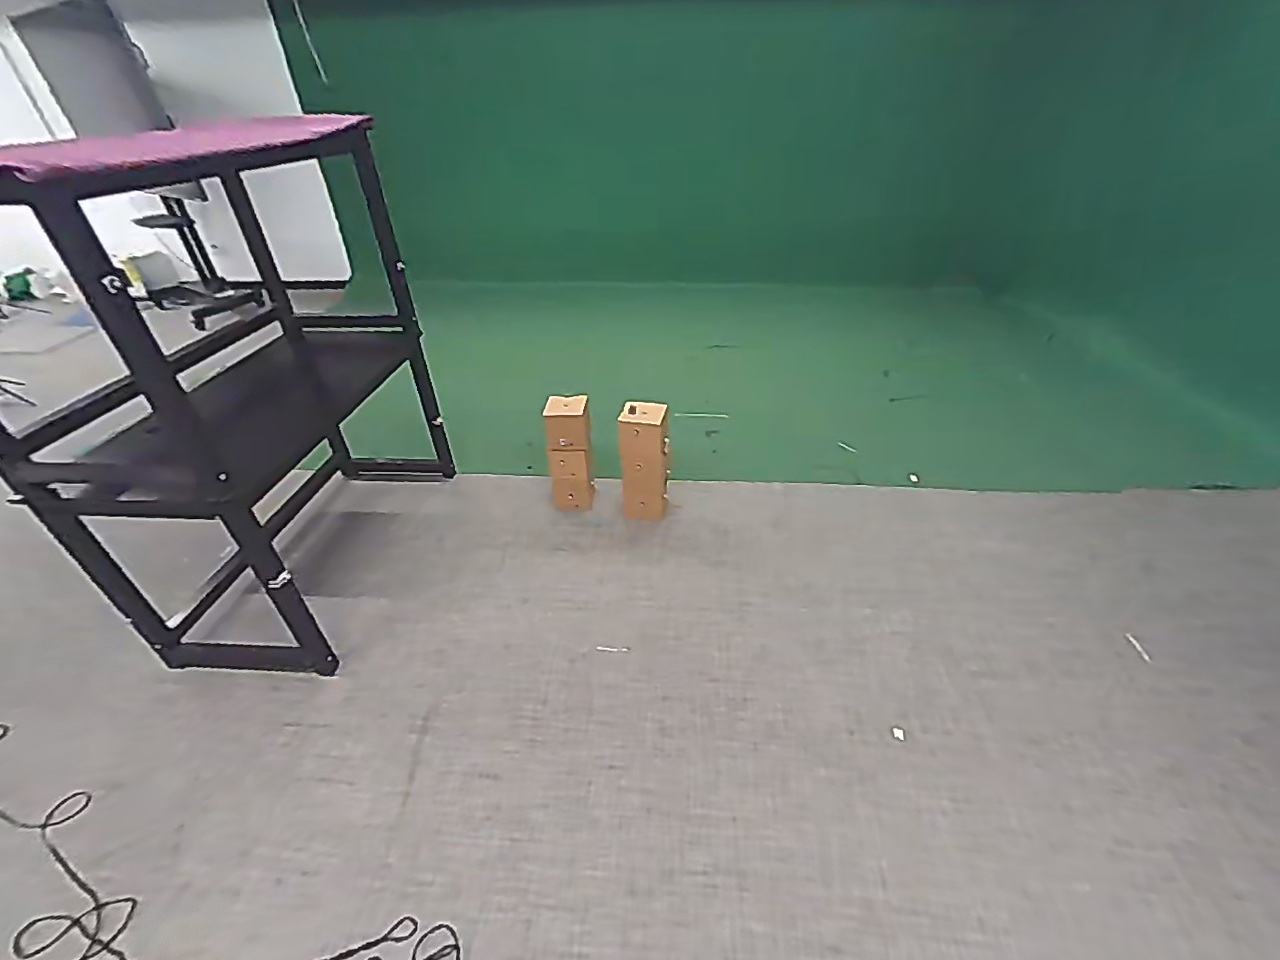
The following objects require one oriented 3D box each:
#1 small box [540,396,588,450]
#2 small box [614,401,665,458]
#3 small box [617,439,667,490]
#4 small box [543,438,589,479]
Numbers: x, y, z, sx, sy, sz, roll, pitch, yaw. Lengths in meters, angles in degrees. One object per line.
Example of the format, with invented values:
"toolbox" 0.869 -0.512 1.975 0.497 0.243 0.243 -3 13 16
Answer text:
"small box" -0.315 -0.242 2.280 0.168 0.176 0.179 -2 36 3
"small box" 0.003 -0.205 2.209 0.179 0.176 0.168 7 37 11
"small box" 0.014 -0.073 2.305 0.179 0.176 0.168 8 38 13
"small box" -0.321 -0.118 2.387 0.168 0.176 0.179 1 35 4
